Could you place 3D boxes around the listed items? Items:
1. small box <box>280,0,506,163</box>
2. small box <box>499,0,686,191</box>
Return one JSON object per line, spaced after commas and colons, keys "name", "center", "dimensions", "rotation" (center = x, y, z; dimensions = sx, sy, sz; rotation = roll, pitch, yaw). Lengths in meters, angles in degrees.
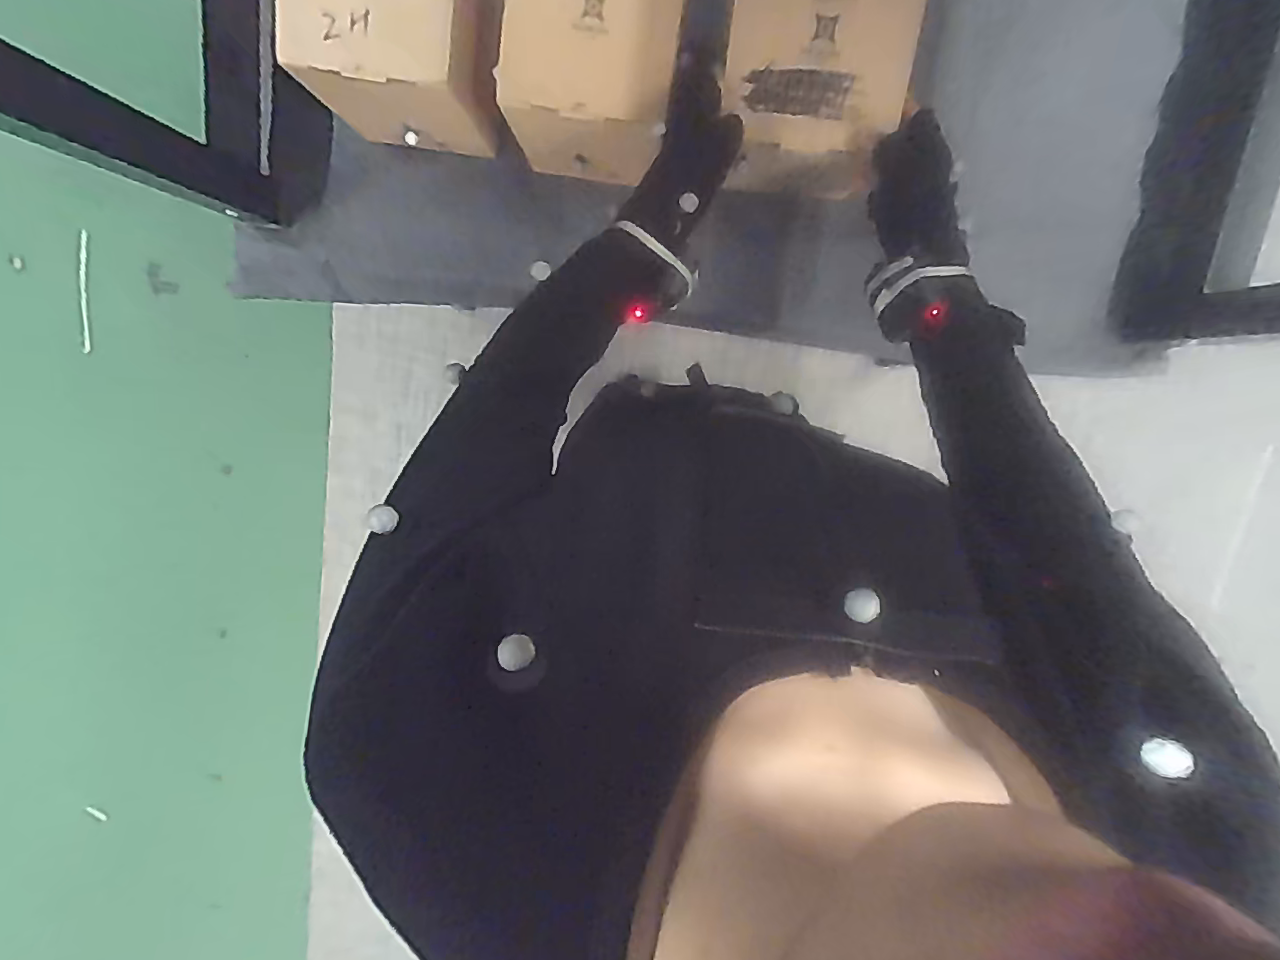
{"name": "small box", "center": [-0.249, -0.477, 0.580], "dimensions": [0.168, 0.176, 0.179], "rotation": [8, 100, -1]}
{"name": "small box", "center": [-0.044, -0.444, 0.586], "dimensions": [0.168, 0.176, 0.179], "rotation": [8, 101, -1]}
